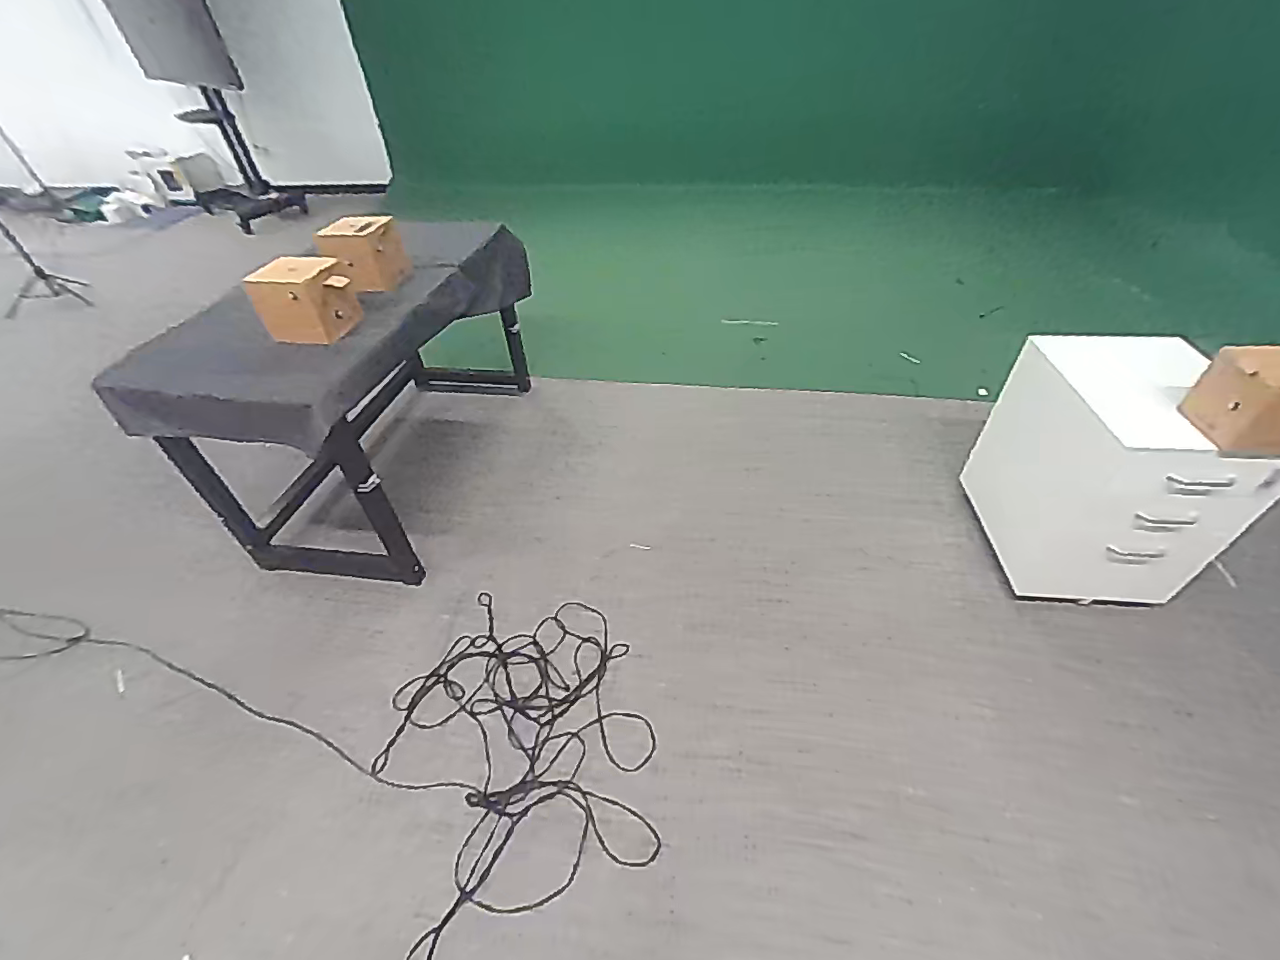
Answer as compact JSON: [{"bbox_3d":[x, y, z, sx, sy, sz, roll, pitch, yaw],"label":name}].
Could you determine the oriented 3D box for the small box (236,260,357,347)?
[{"bbox_3d":[-0.887,-0.462,1.414,0.179,0.176,0.168,4,42,8],"label":"small box"}]

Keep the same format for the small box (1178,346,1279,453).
[{"bbox_3d":[1.320,-0.171,1.154,0.179,0.176,0.168,2,43,5],"label":"small box"}]
